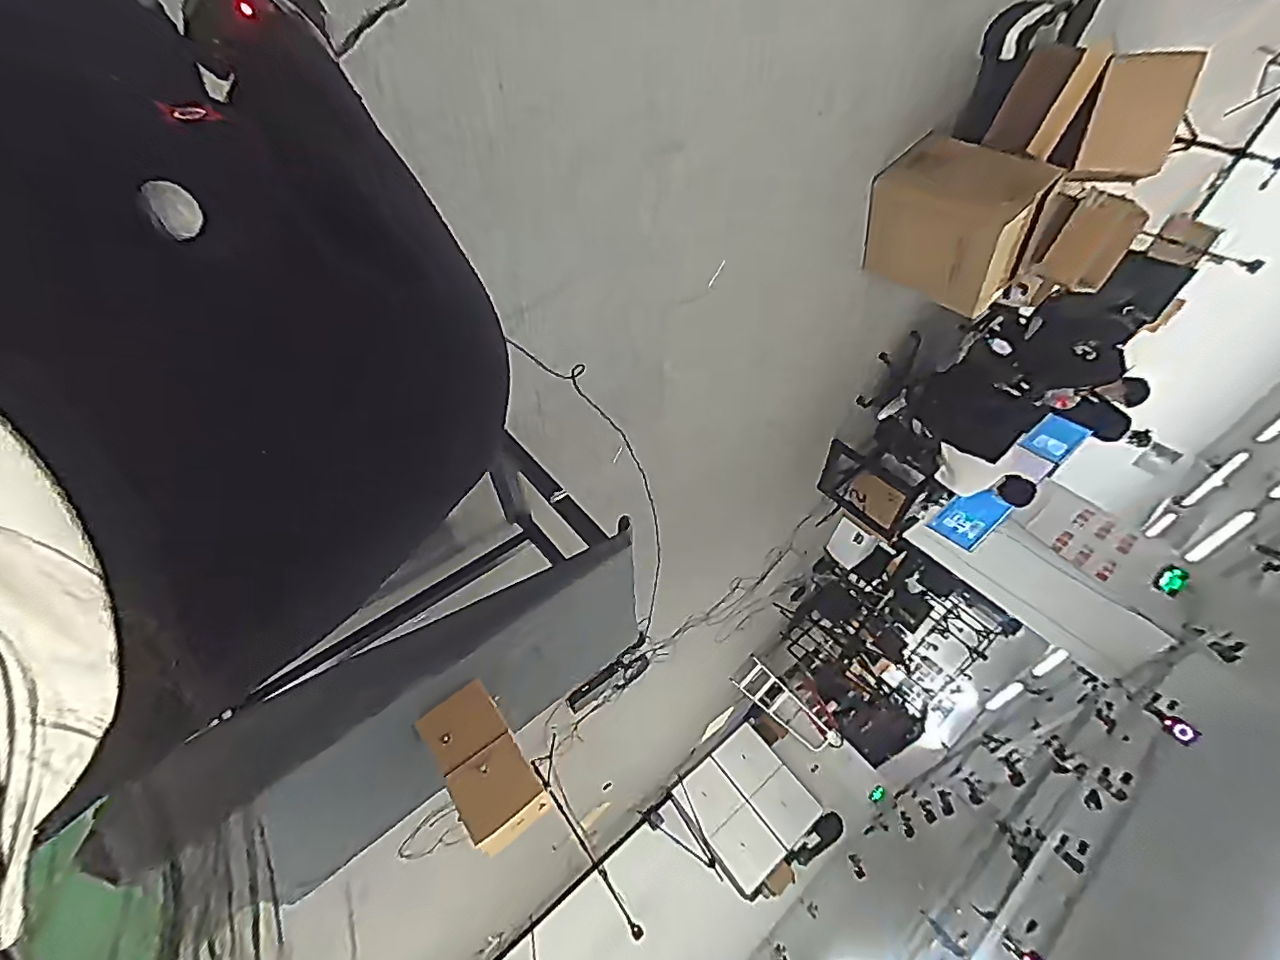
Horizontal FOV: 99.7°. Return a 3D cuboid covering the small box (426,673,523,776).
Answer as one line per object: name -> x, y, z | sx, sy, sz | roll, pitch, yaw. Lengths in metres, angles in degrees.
small box -> -0.424, 0.635, 1.385 | 0.179, 0.176, 0.168 | -34, 148, -24

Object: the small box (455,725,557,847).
small box -> -0.323, 0.731, 1.298 | 0.179, 0.176, 0.168 | -31, 147, -24
